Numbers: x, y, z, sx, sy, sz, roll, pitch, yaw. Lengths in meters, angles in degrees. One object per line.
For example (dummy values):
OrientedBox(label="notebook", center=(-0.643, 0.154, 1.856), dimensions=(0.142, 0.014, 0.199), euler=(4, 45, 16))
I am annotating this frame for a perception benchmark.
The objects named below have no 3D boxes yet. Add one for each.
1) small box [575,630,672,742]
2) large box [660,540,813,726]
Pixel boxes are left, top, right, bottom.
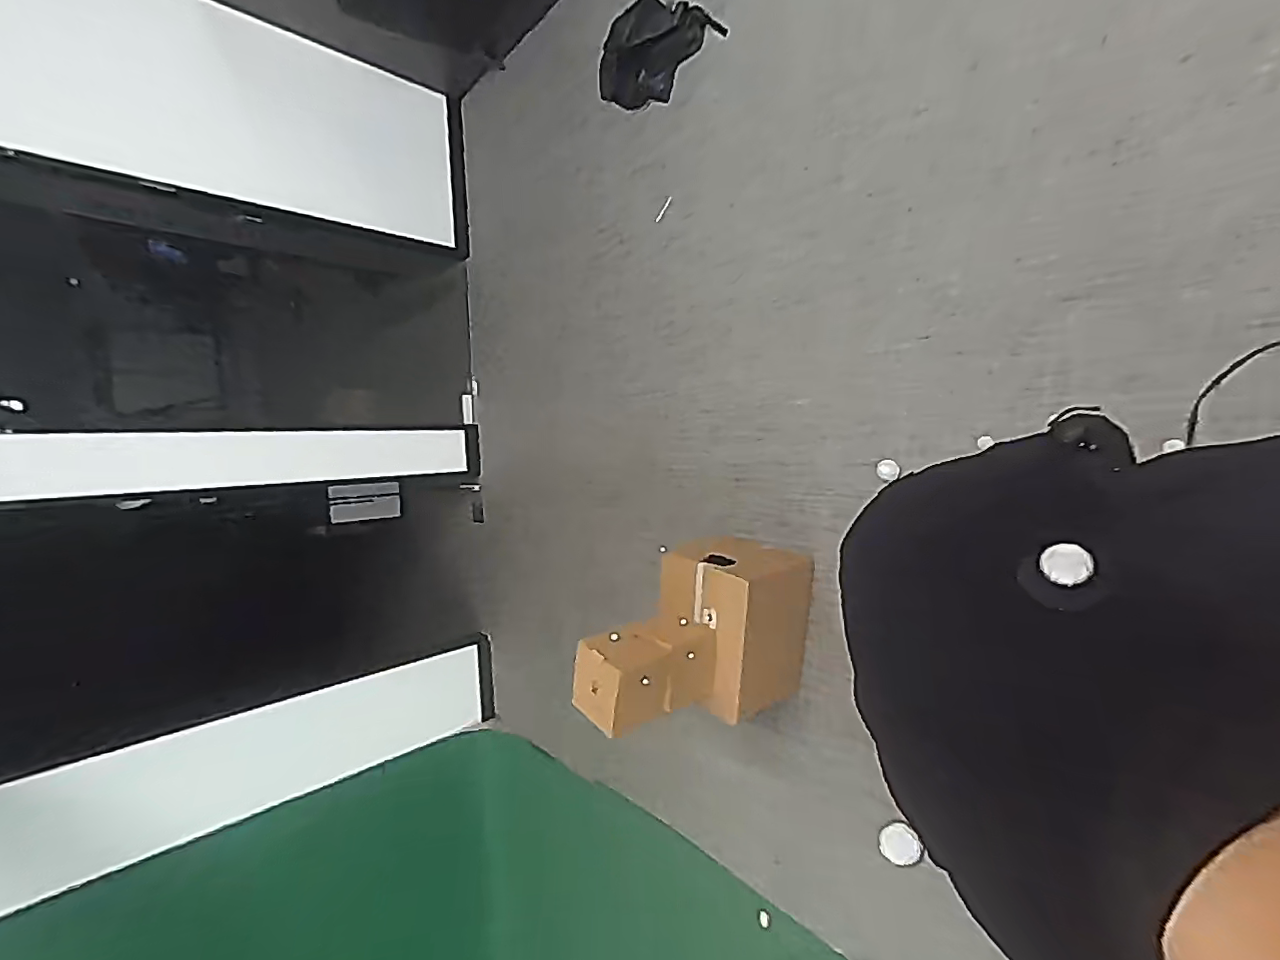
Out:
OrientedBox(label="small box", center=(-0.038, 0.490, 1.321), dimensions=(0.168, 0.176, 0.179), euler=(19, 108, 47))
OrientedBox(label="large box", center=(0.276, 0.416, 1.575), dimensions=(0.320, 0.320, 0.408), euler=(12, 101, 46))
